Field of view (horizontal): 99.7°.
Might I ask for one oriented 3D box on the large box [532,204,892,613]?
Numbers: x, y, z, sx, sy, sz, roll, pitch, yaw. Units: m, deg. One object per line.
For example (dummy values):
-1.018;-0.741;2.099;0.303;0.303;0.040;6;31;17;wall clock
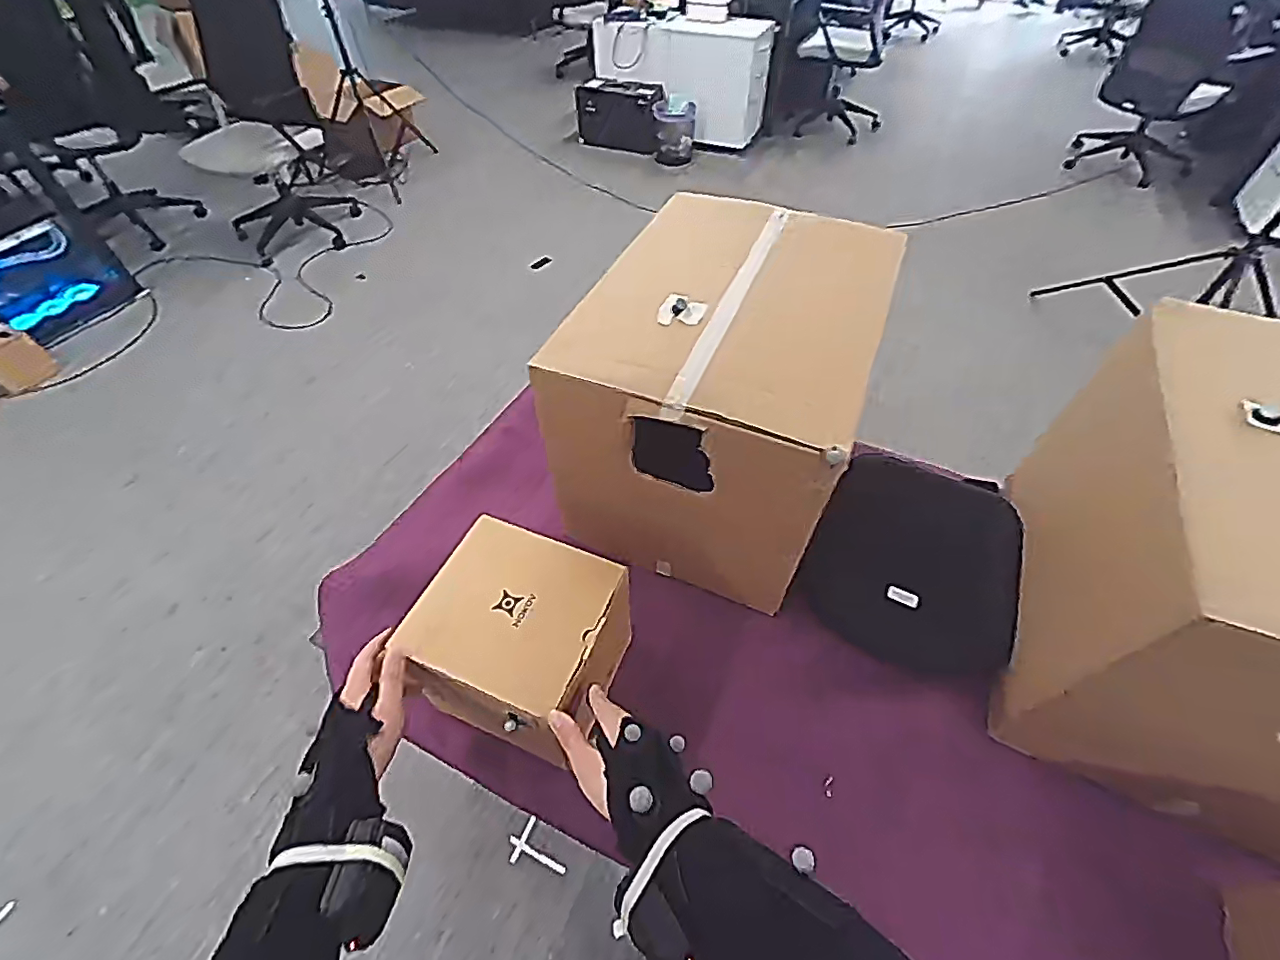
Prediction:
0.106;-0.104;0.725;0.320;0.320;0.408;17;55;15;large box
